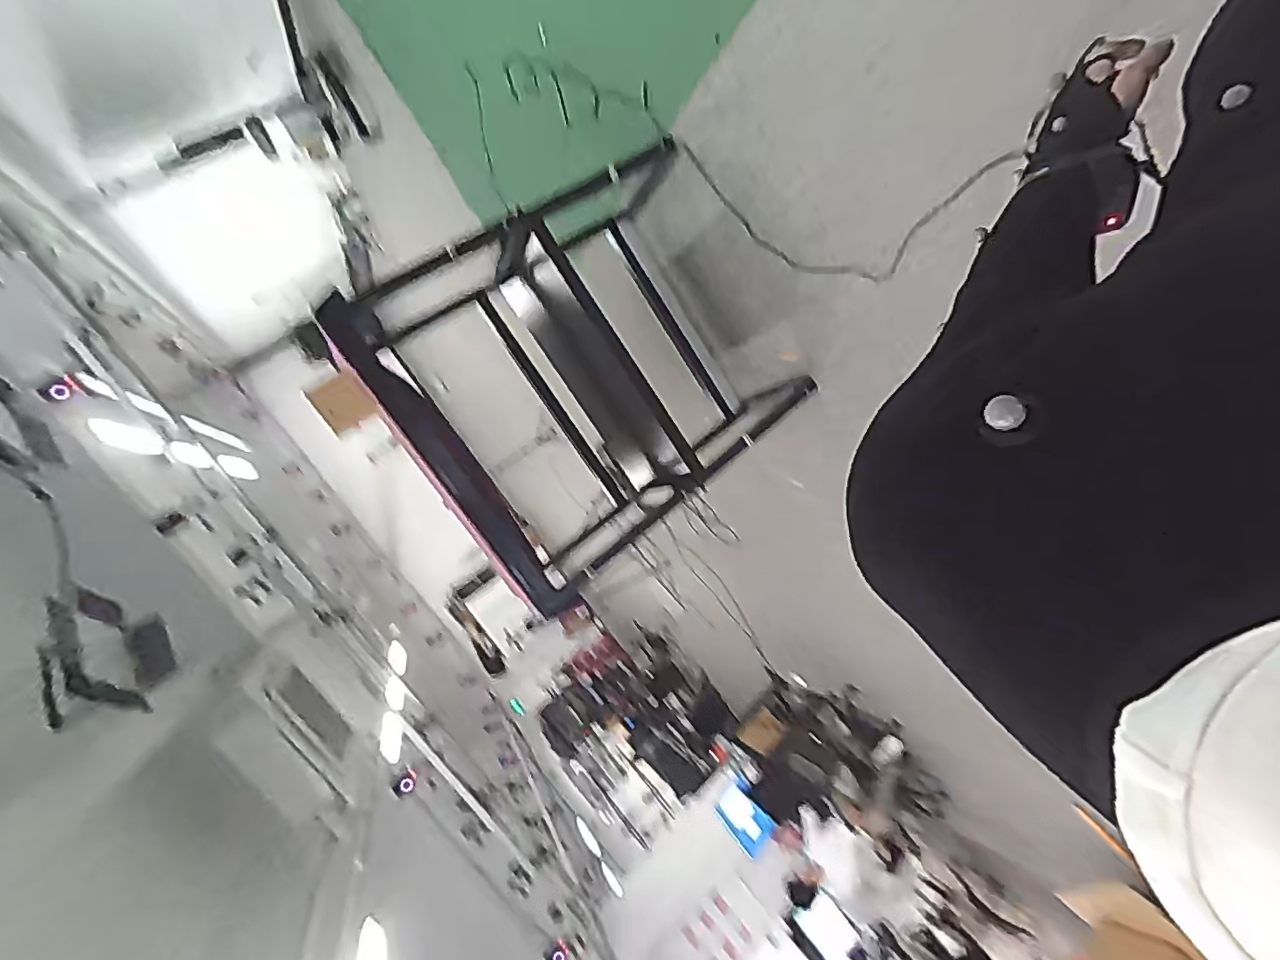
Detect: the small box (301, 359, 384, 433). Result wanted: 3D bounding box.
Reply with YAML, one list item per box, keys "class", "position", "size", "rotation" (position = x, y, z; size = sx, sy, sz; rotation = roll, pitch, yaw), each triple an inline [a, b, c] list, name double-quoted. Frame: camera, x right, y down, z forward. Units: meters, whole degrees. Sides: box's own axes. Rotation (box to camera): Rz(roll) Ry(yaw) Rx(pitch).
- class: "small box"
  position: [-0.951, -0.269, 1.745]
  size: [0.168, 0.176, 0.179]
  rotation: [57, 159, -15]
